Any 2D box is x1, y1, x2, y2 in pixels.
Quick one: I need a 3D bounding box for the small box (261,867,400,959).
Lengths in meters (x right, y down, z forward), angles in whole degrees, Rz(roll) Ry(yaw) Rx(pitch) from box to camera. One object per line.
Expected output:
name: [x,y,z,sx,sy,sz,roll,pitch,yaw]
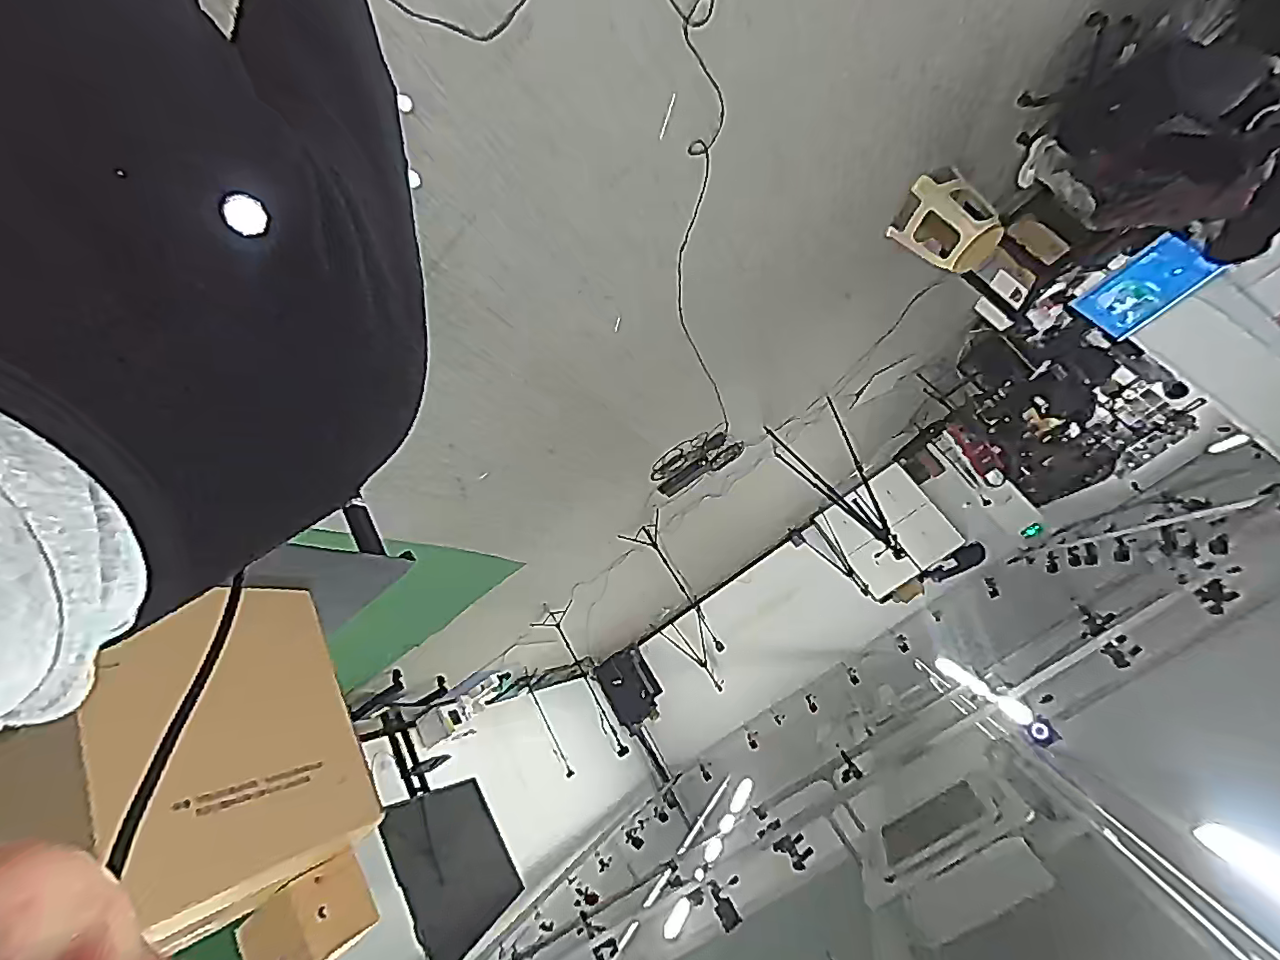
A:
small box: [-0.666,0.979,1.160,0.179,0.176,0.168,-43,158,8]
